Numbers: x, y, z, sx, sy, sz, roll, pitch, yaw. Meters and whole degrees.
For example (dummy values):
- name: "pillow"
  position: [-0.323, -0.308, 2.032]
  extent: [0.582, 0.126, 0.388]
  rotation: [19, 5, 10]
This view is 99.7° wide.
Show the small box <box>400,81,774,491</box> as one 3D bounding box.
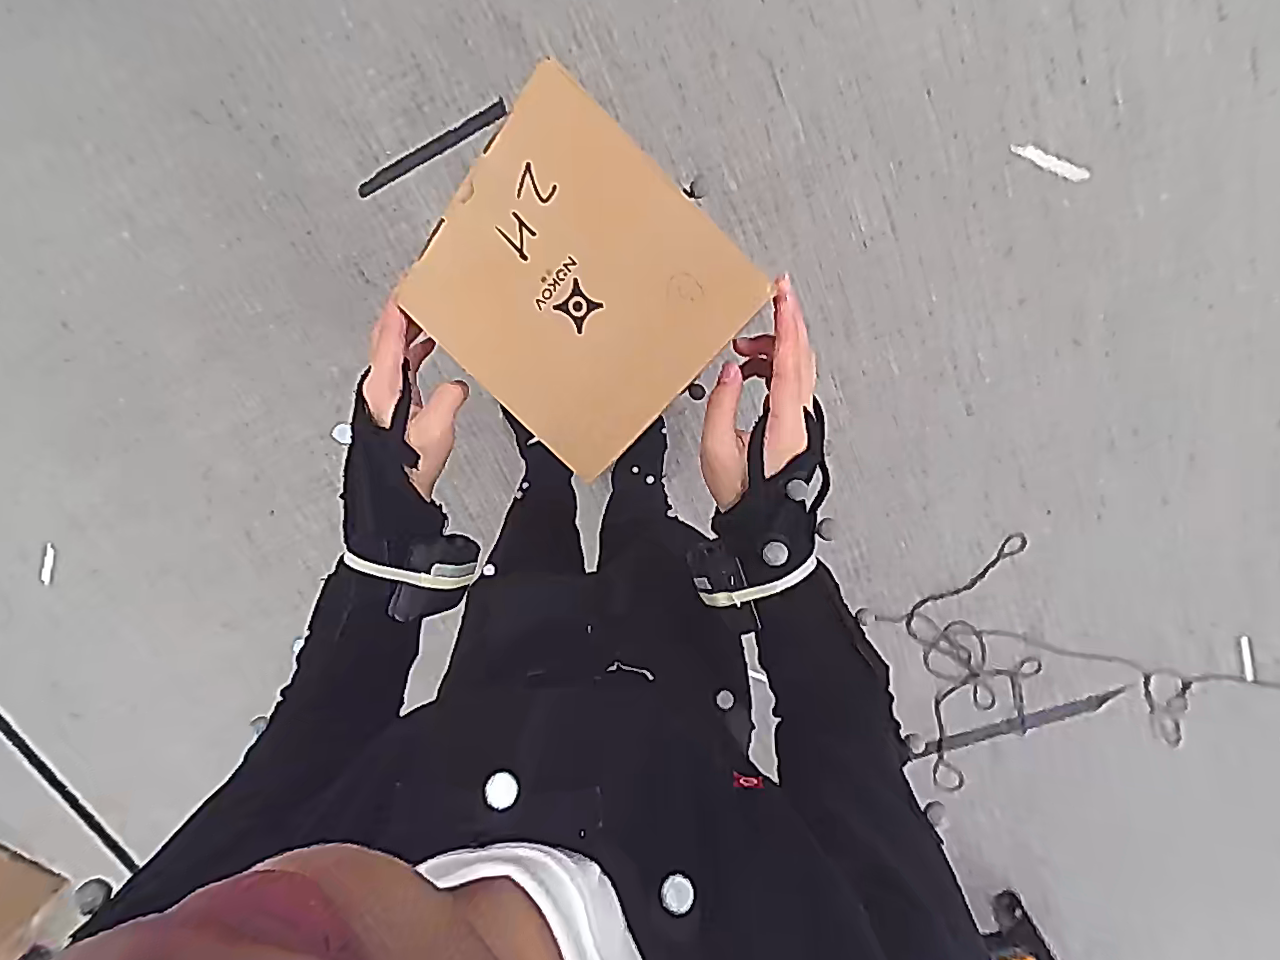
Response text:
- name: "small box"
  position: [-0.022, -0.128, 0.394]
  extent: [0.179, 0.176, 0.168]
  rotation: [44, 112, -4]
